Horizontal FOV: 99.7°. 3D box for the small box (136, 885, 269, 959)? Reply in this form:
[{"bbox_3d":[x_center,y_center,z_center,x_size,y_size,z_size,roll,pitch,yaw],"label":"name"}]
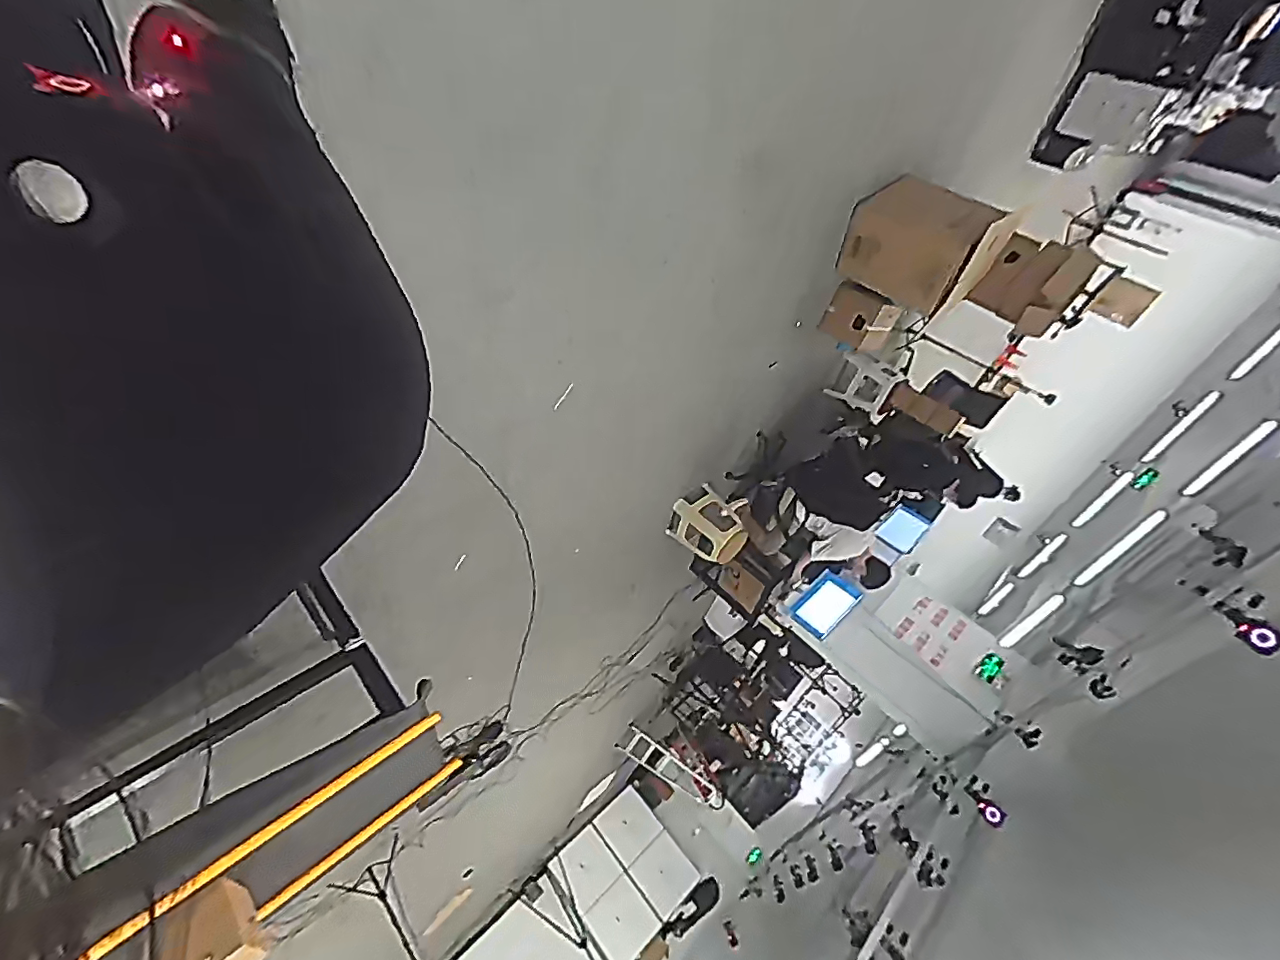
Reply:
[{"bbox_3d":[-0.988,1.069,1.229,0.168,0.176,0.179,-31,148,-35],"label":"small box"}]
